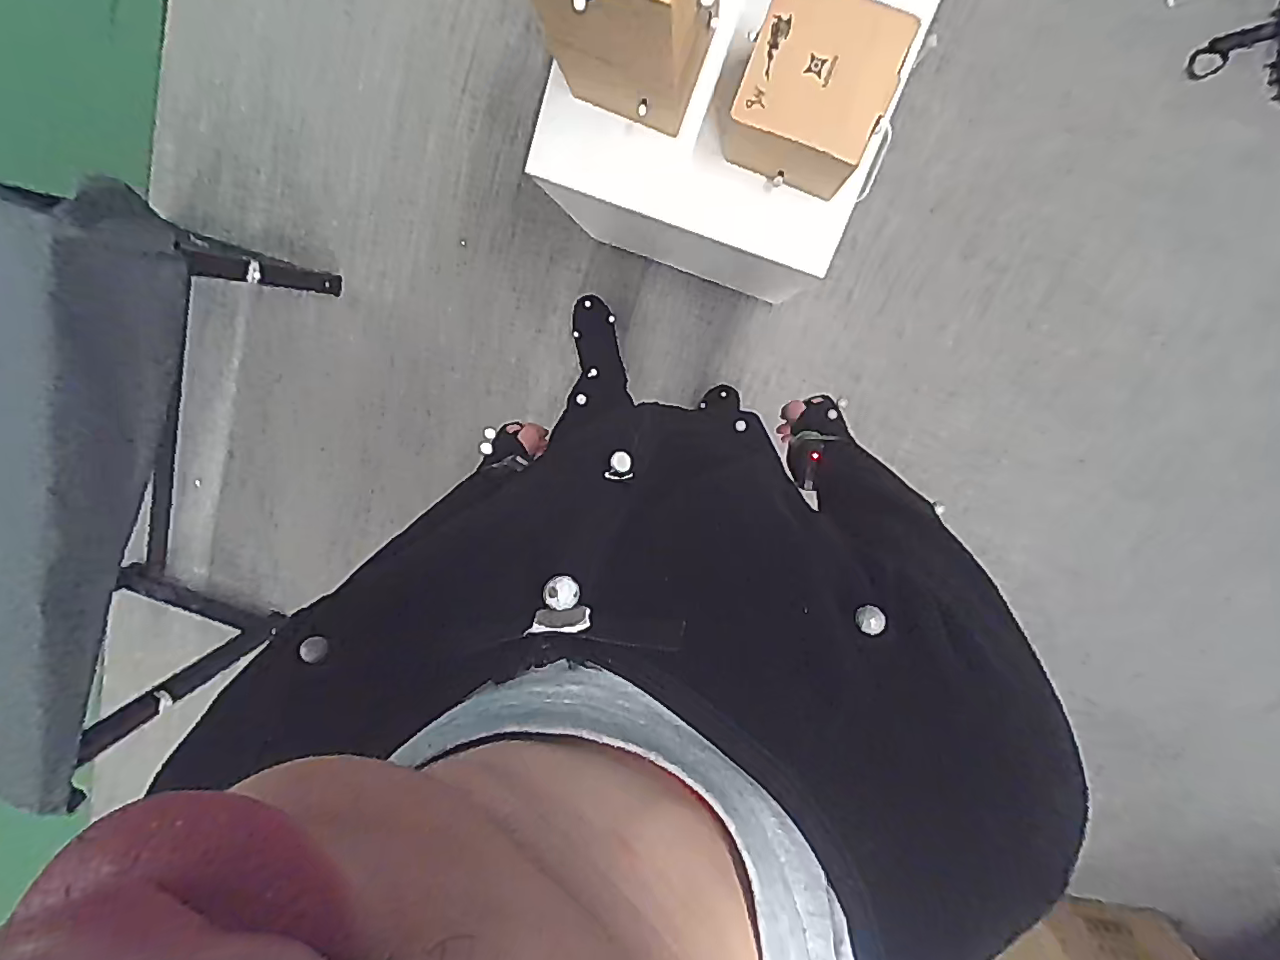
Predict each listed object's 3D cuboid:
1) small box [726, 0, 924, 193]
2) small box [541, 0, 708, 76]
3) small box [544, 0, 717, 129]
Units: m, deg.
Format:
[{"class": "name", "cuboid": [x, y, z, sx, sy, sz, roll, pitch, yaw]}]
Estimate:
[{"class": "small box", "cuboid": [0.228, -0.507, 0.721, 0.179, 0.176, 0.168, 22, 105, 0]}, {"class": "small box", "cuboid": [-0.010, -0.568, 0.560, 0.179, 0.176, 0.168, 22, 105, -2]}, {"class": "small box", "cuboid": [-0.002, -0.605, 0.721, 0.179, 0.176, 0.168, 22, 104, 0]}]
